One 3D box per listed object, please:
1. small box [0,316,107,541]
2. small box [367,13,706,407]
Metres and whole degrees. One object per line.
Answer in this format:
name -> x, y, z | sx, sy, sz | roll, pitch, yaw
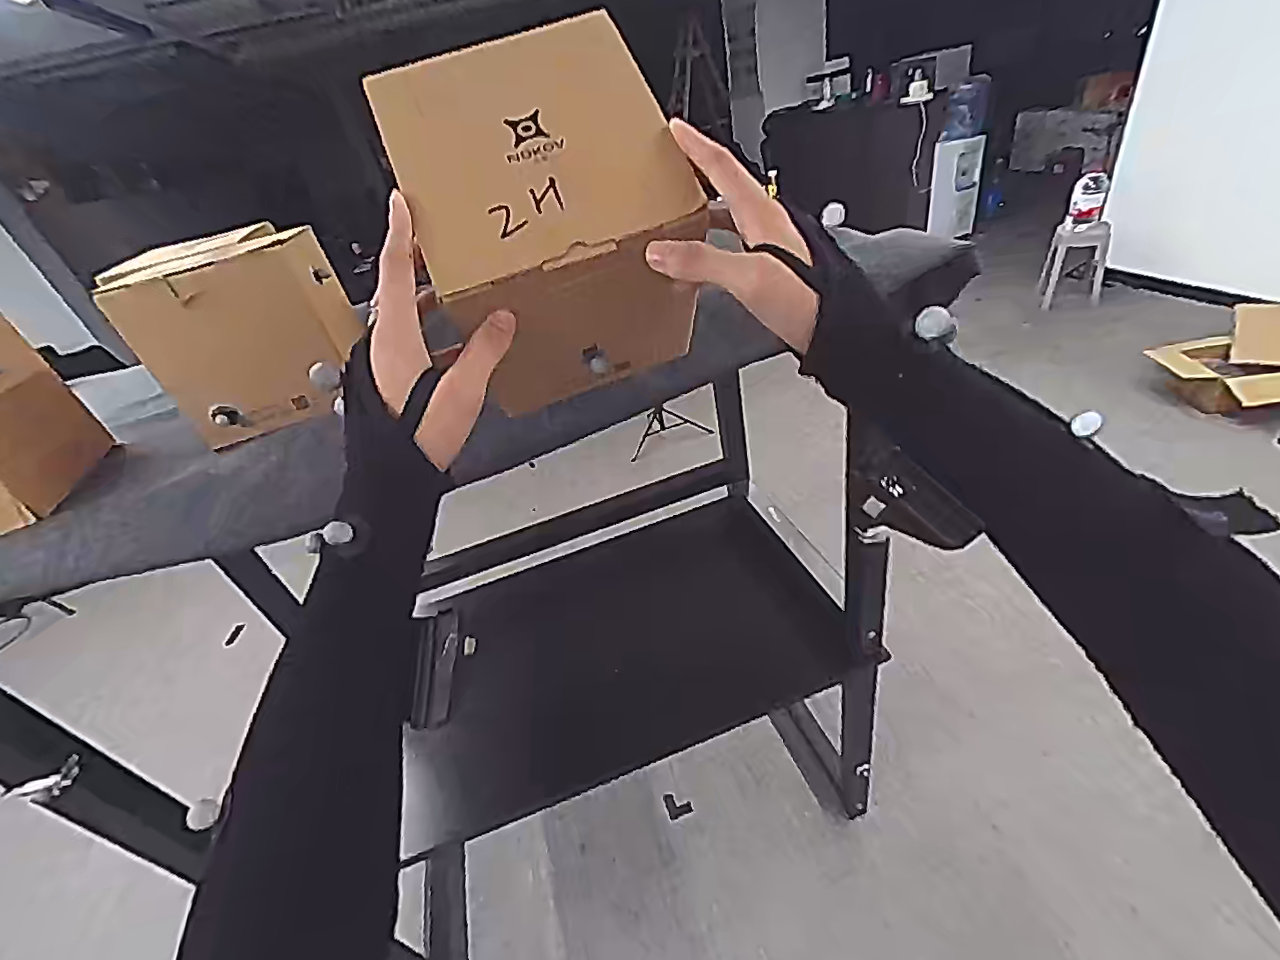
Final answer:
small box -> -0.683, -0.035, 0.518 | 0.168, 0.176, 0.179 | -22, 37, -11
small box -> -0.068, -0.183, 0.404 | 0.168, 0.176, 0.179 | -21, 76, -6
